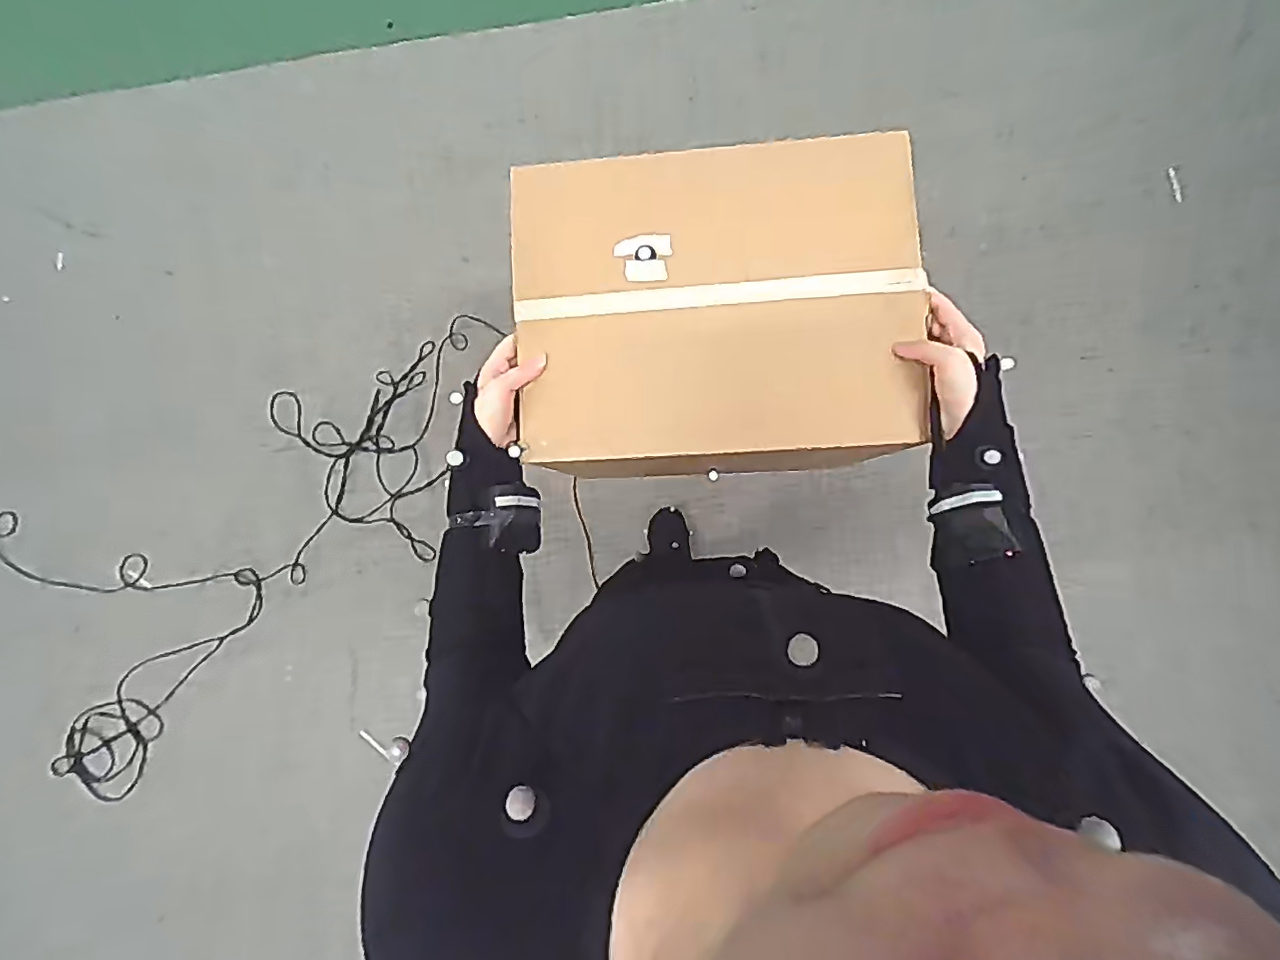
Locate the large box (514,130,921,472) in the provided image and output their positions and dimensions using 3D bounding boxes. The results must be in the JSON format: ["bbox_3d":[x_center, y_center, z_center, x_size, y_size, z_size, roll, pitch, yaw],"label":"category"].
[{"bbox_3d":[0.087,-0.180,0.702,0.408,0.320,0.320,-3,86,6],"label":"large box"}]
